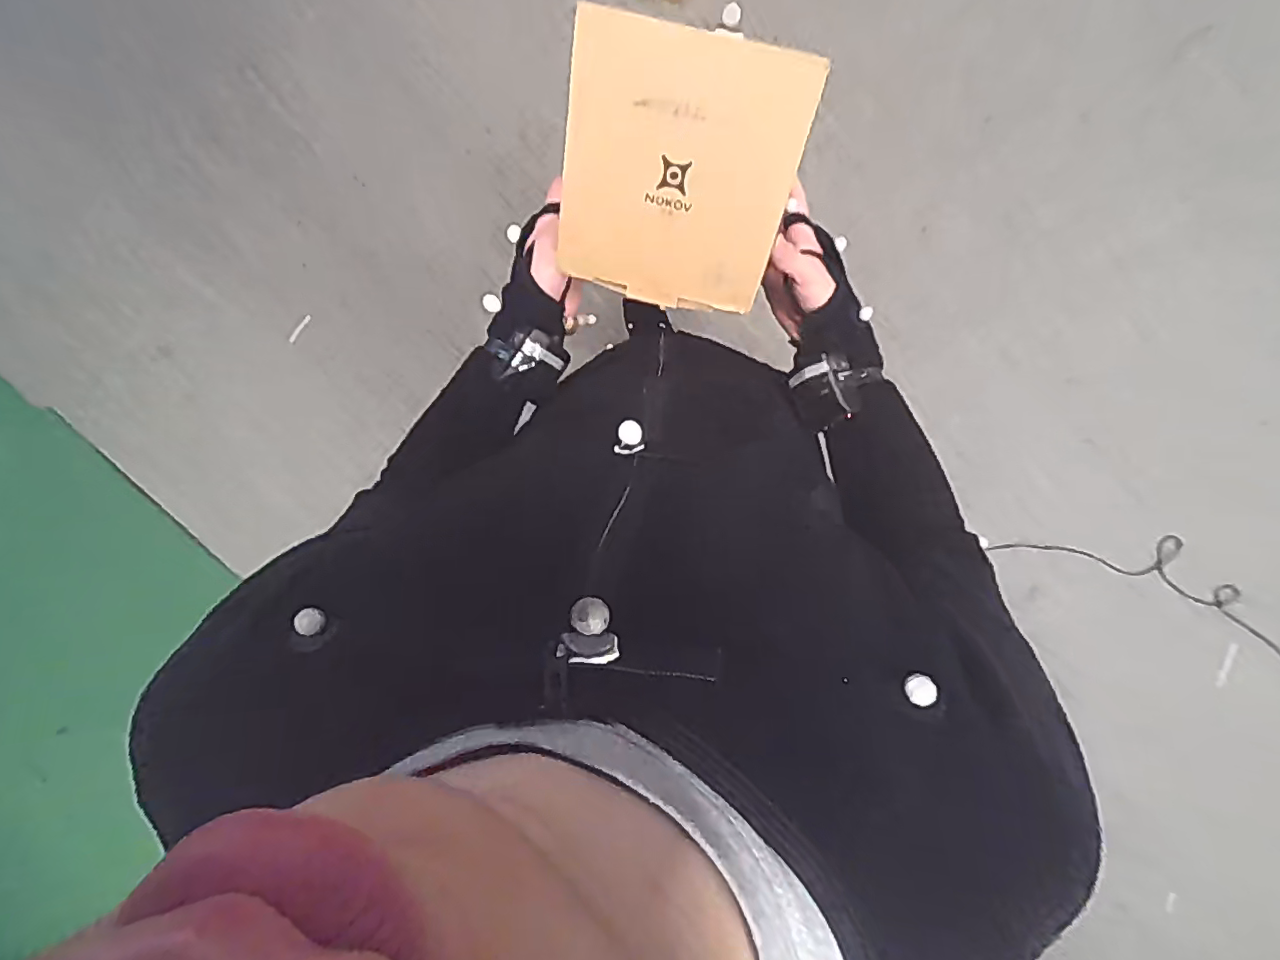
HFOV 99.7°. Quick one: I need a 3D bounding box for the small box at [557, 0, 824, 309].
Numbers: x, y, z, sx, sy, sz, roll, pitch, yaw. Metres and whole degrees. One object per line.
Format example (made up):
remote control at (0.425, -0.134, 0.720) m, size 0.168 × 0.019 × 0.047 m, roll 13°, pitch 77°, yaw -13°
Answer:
small box at (0.036, -0.274, 0.454) m, size 0.168 × 0.176 × 0.179 m, roll 12°, pitch 130°, yaw -1°
